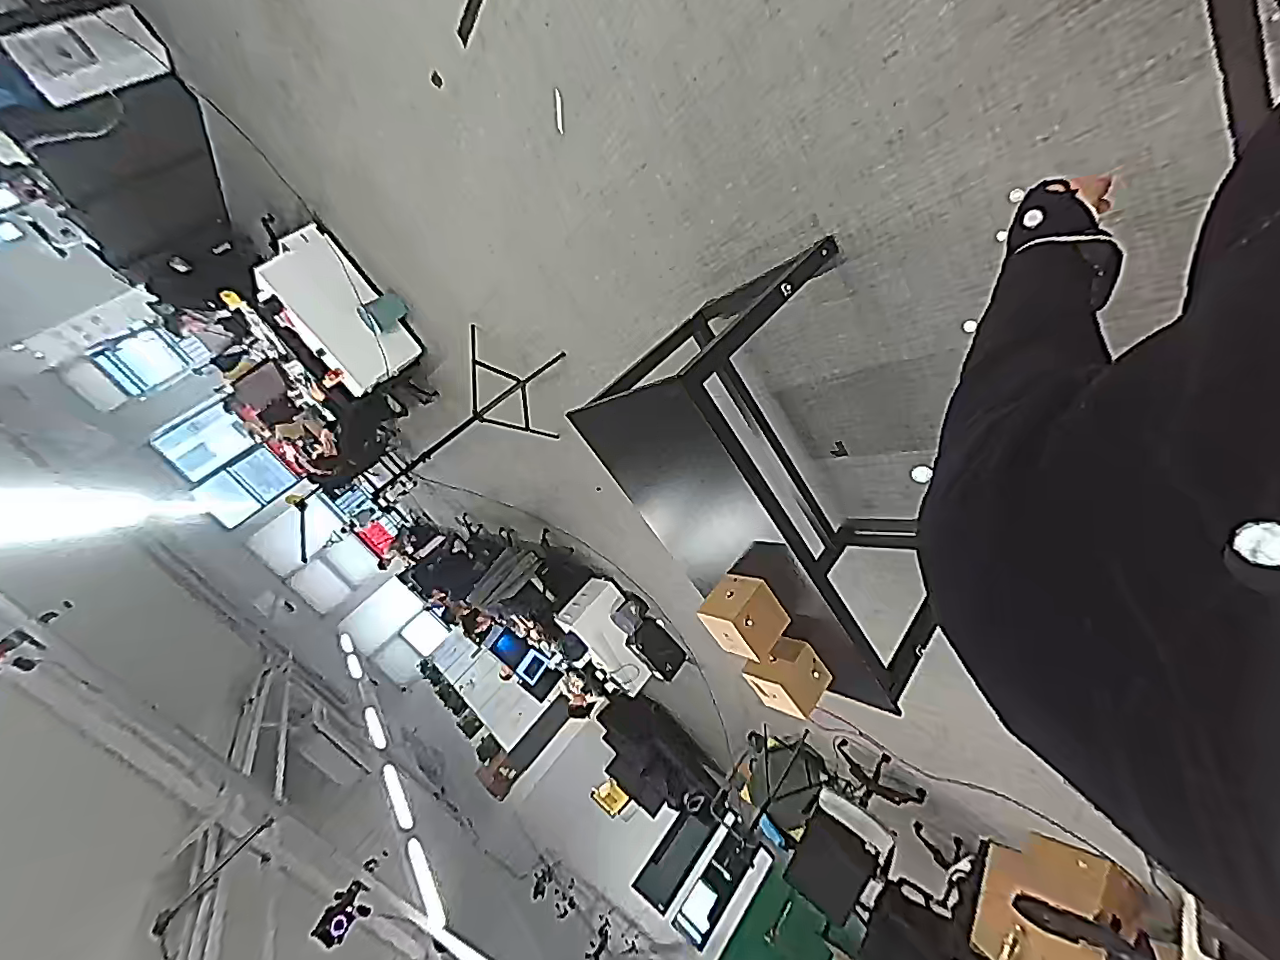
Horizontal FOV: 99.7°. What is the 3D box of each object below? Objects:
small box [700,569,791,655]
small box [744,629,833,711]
[{"bbox_3d":[0.320,0.390,1.633,0.179,0.176,0.168,53,155,-18],"label":"small box"},{"bbox_3d":[0.473,0.592,1.716,0.168,0.176,0.179,52,153,-17],"label":"small box"}]
